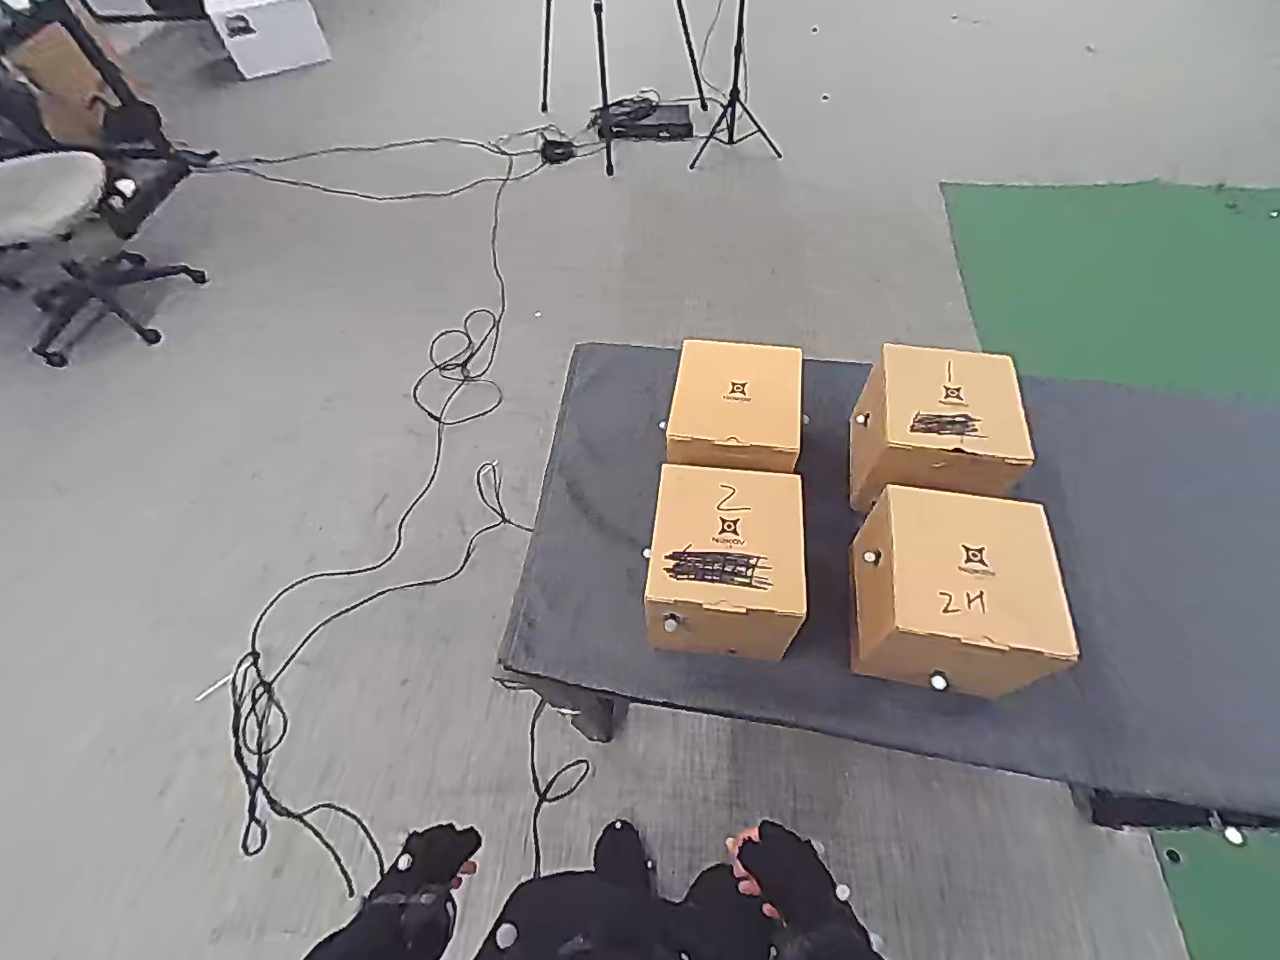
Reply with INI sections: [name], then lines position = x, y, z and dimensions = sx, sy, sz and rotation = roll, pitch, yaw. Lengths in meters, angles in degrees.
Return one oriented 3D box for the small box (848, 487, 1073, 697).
[small box]
position = 0.349, 0.135, 0.633
dimensions = 0.168, 0.176, 0.179
rotation = 8, 58, 8
